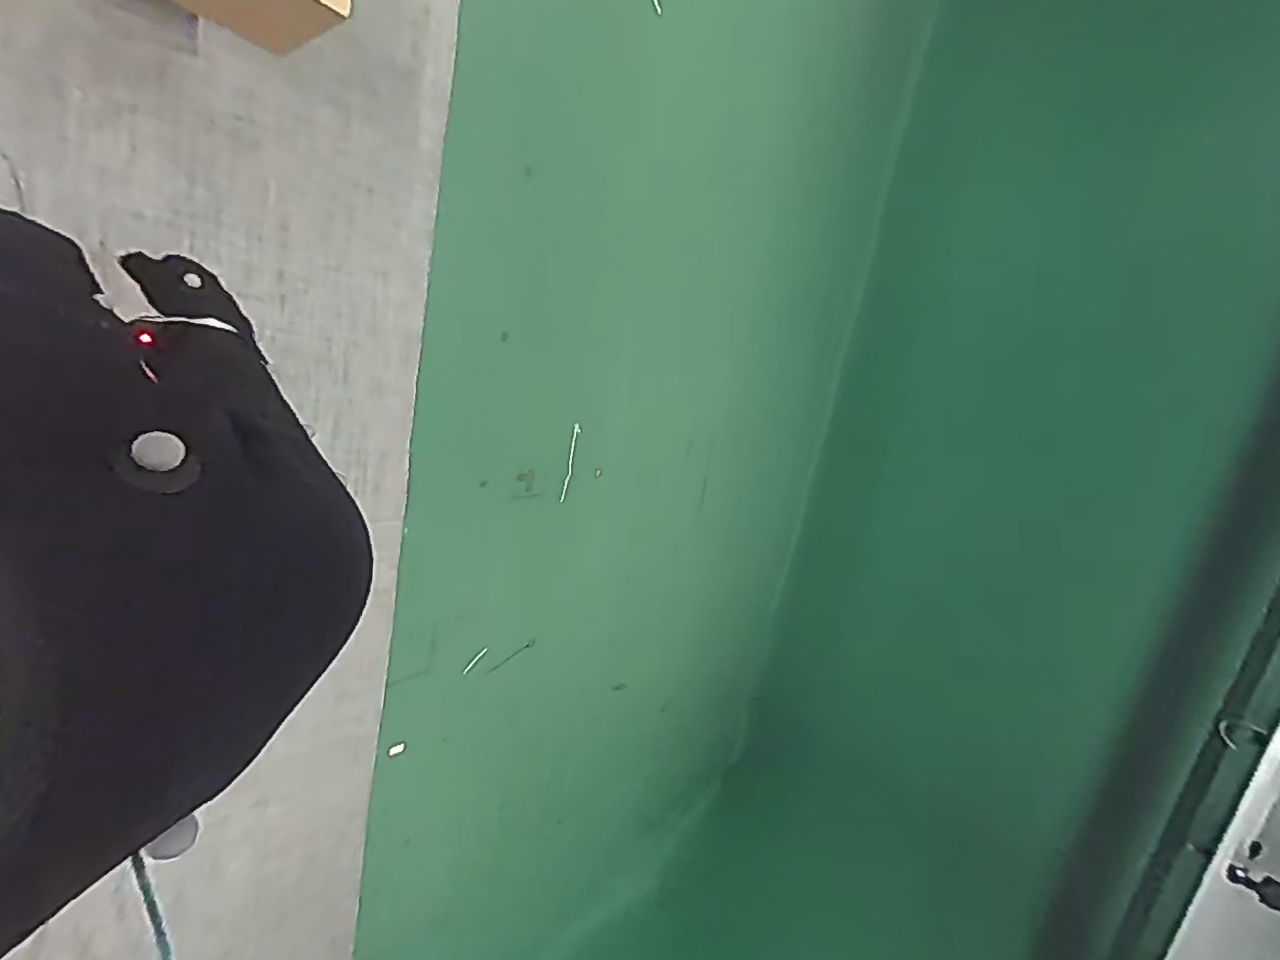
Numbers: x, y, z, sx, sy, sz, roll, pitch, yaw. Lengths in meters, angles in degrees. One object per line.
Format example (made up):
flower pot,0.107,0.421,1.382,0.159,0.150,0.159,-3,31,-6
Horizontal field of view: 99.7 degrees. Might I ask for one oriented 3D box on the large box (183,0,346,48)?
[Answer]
large box,-0.668,-0.913,0.760,0.408,0.320,0.320,-1,106,-50
